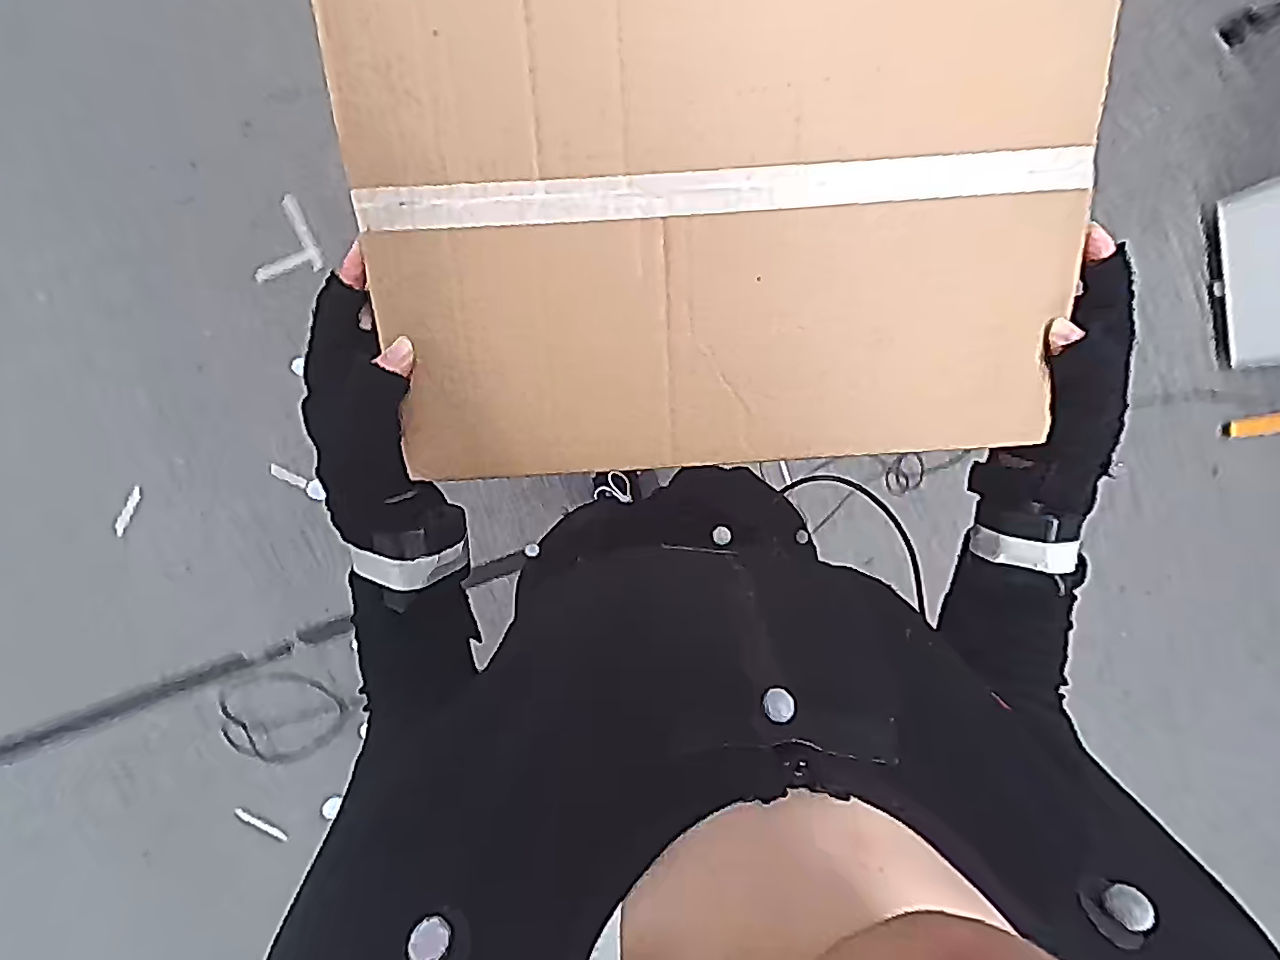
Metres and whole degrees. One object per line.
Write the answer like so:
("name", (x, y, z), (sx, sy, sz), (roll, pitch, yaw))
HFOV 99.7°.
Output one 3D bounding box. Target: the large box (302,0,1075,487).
("large box", (0.032, -0.206, 0.448), (0.408, 0.320, 0.320), (-5, 108, -1))
